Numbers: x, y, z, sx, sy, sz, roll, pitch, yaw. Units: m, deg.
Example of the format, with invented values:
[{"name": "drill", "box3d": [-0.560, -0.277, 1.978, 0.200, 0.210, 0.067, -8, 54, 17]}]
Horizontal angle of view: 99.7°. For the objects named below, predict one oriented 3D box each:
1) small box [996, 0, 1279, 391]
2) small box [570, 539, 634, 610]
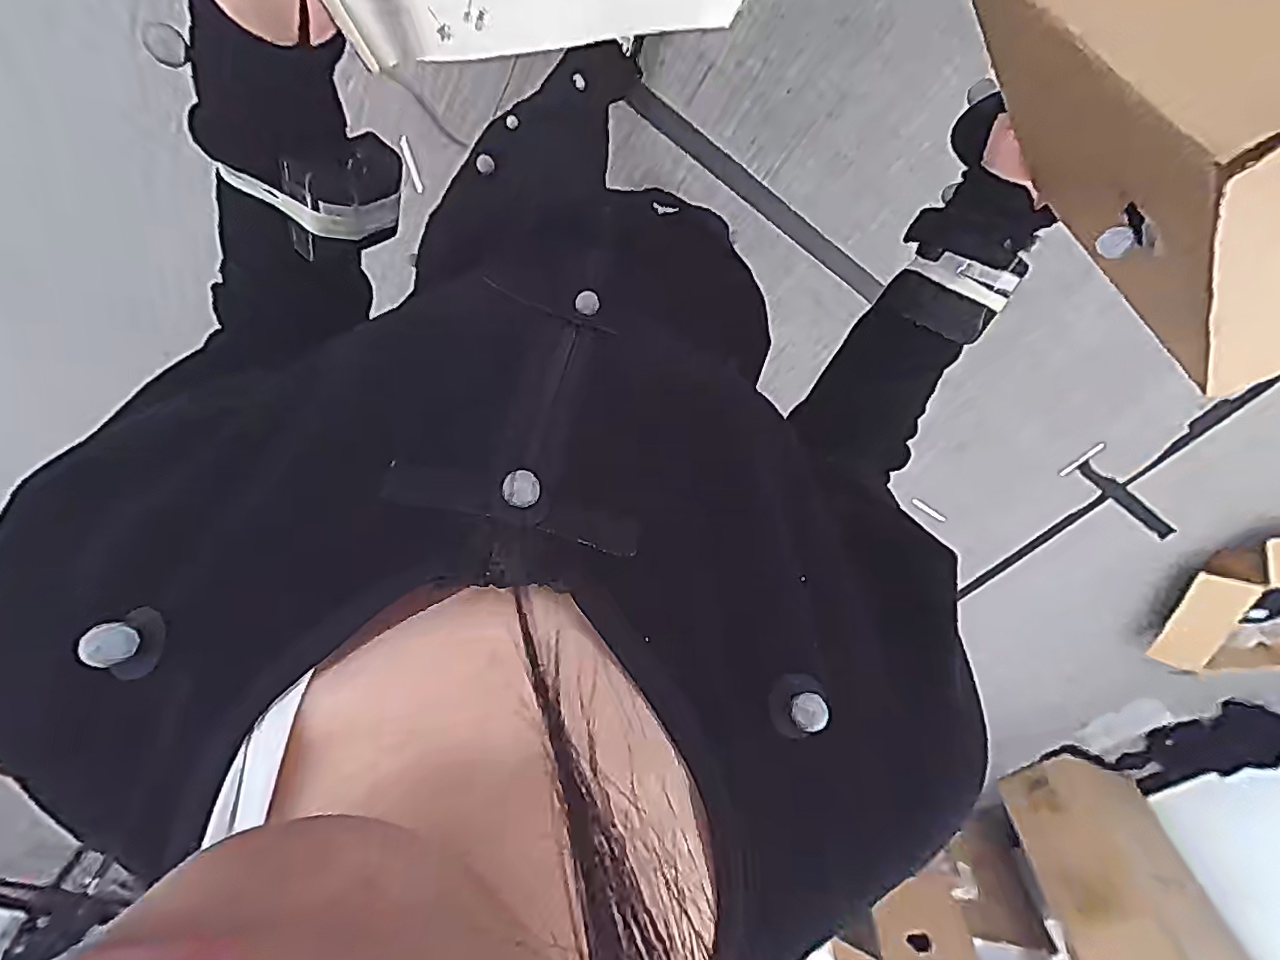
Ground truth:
[{"name": "small box", "box3d": [0.254, -0.166, 0.185, 0.168, 0.176, 0.179, -30, 146, 35]}, {"name": "small box", "box3d": [-0.123, 0.319, 1.837, 0.179, 0.176, 0.168, -8, 126, 9]}]
